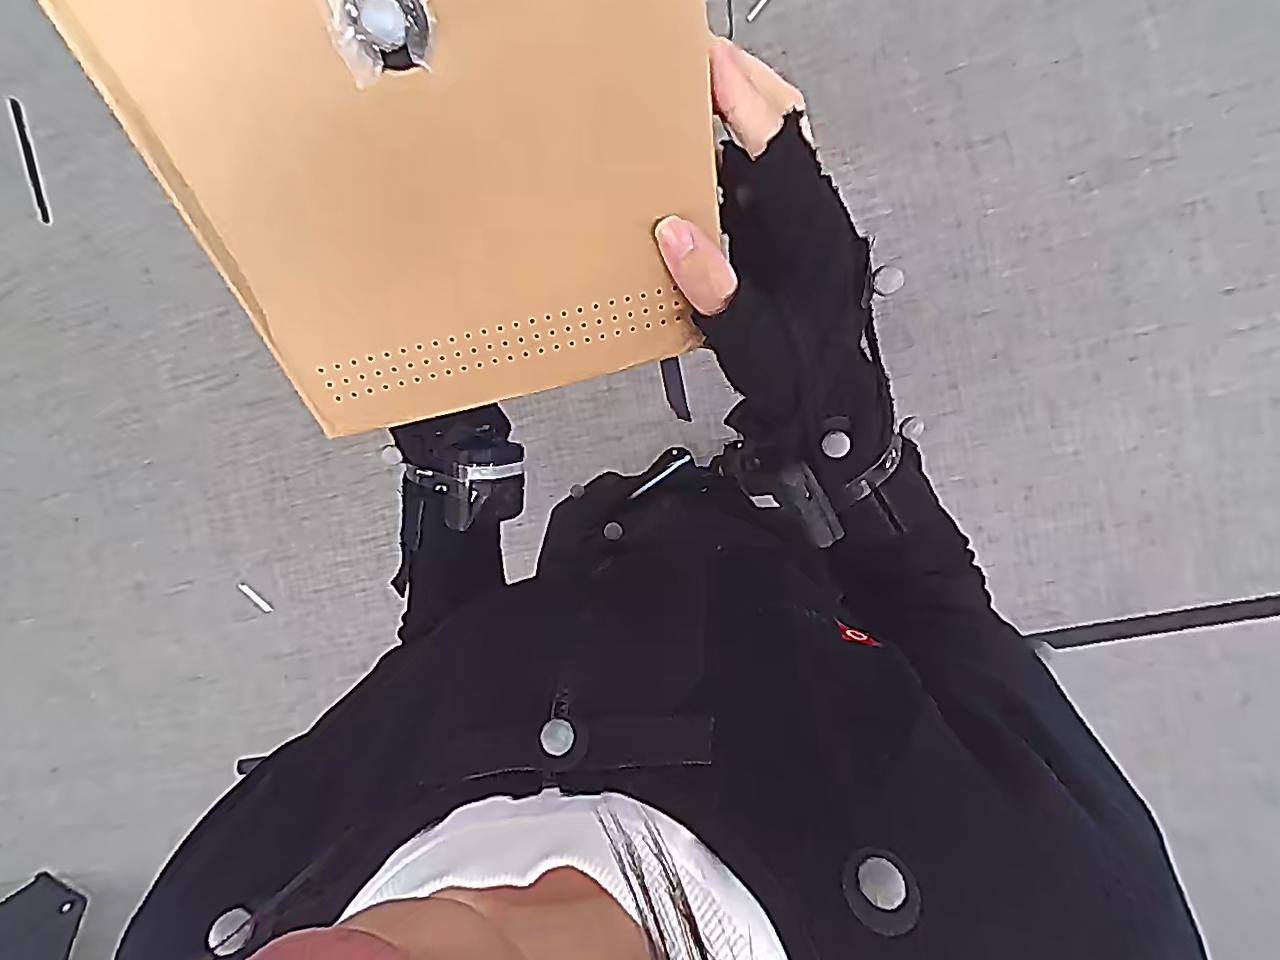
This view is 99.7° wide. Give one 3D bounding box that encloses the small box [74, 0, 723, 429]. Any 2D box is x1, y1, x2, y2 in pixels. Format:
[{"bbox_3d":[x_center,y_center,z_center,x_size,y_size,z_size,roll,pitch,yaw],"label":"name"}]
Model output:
[{"bbox_3d":[-0.070,-0.143,0.245,0.179,0.168,0.176,-13,131,-2],"label":"small box"}]
